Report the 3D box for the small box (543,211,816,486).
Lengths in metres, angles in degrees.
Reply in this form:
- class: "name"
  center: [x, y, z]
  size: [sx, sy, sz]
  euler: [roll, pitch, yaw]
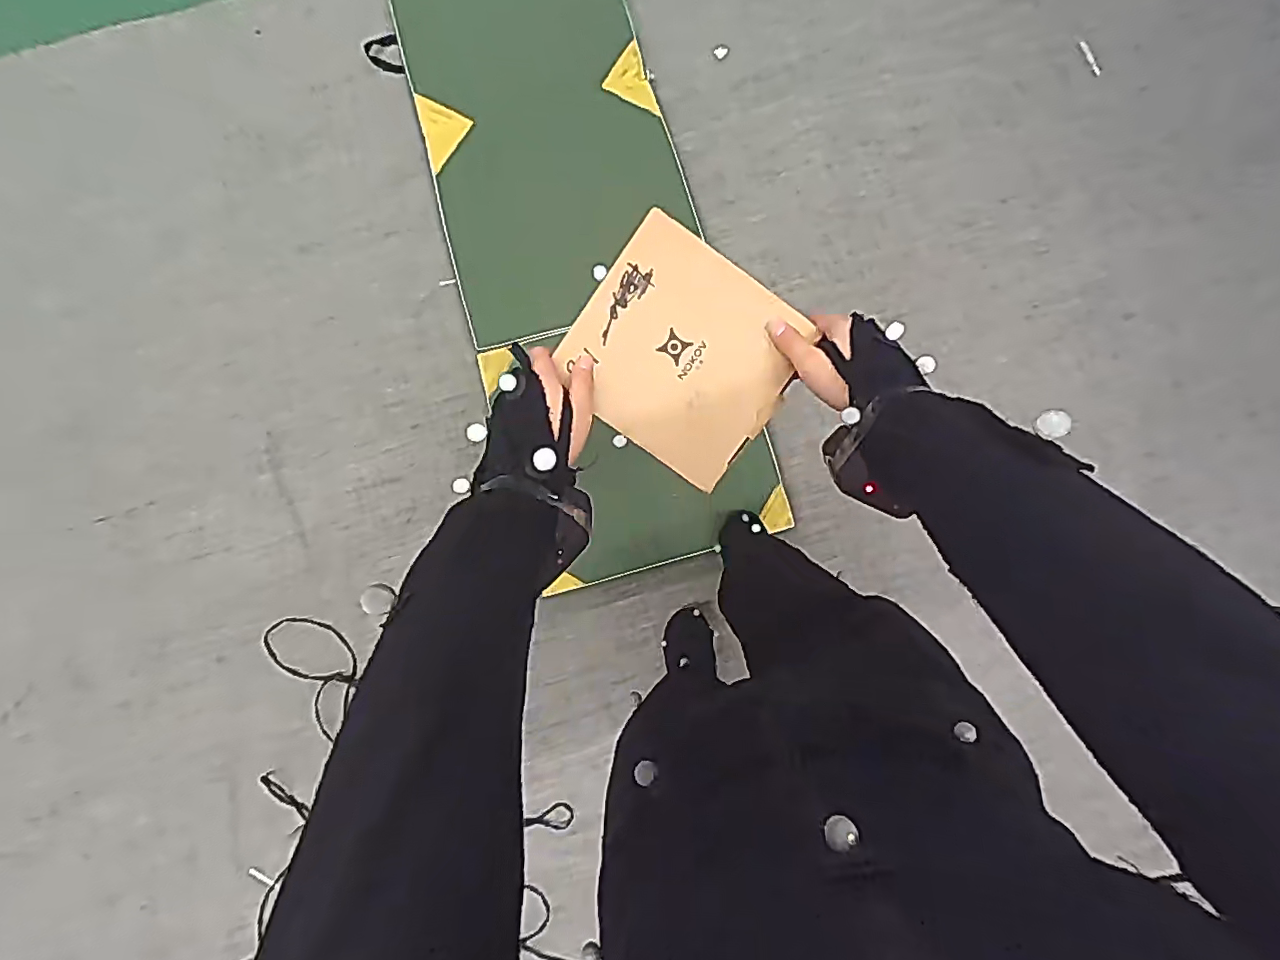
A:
- class: "small box"
  center: [0.032, -0.117, 0.533]
  size: [0.179, 0.176, 0.168]
  euler: [36, 94, -5]
